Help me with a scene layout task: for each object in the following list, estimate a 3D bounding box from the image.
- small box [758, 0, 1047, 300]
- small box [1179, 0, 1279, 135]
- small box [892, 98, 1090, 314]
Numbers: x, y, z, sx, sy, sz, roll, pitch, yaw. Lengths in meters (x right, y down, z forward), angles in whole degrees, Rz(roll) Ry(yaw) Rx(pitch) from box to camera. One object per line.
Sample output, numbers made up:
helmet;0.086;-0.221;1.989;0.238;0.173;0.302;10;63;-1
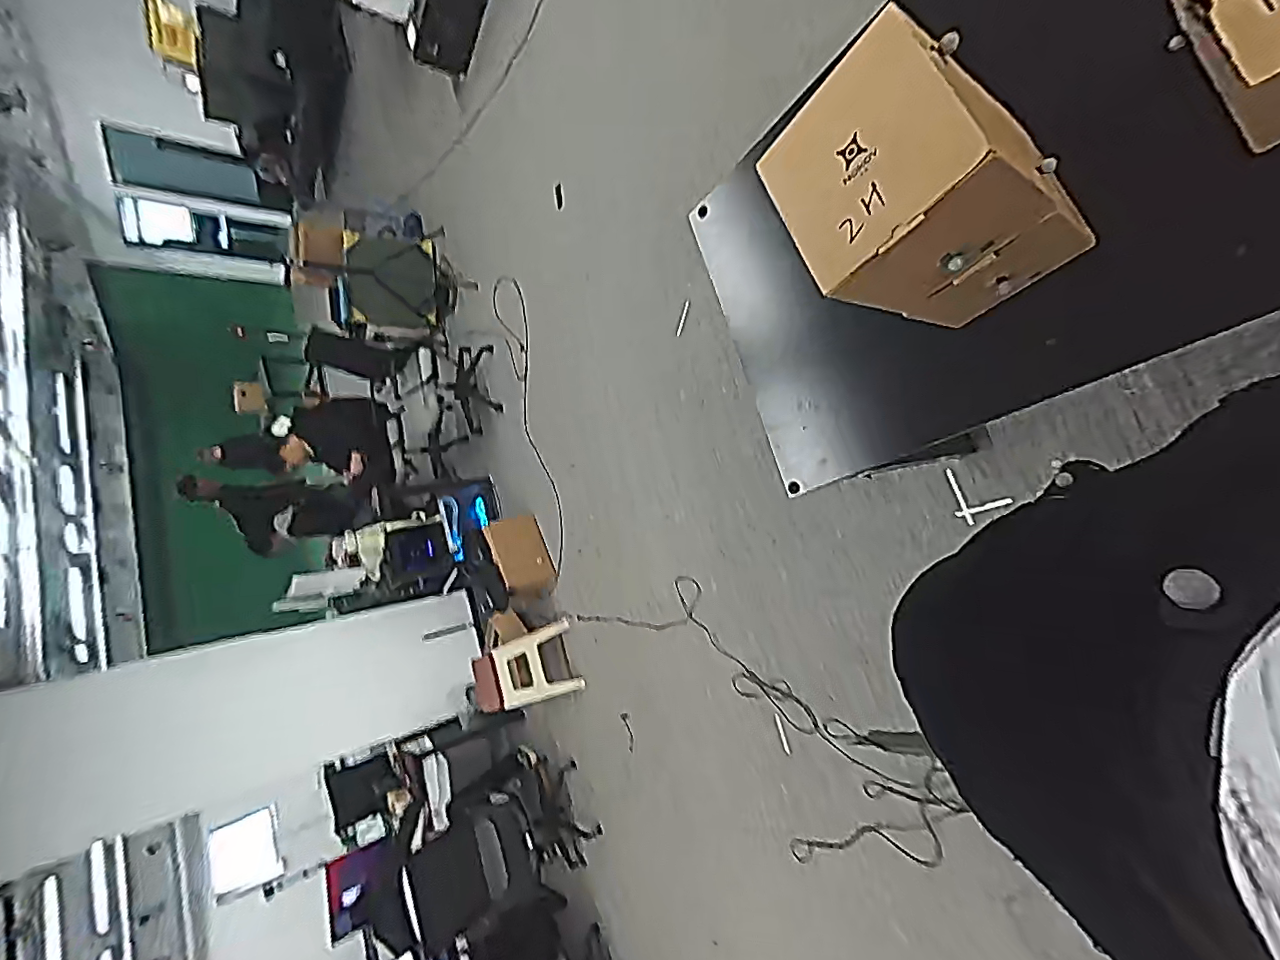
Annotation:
small box;0.257;-0.304;0.541;0.168;0.176;0.179;-38;66;47
small box;0.556;-0.416;0.418;0.179;0.176;0.168;-29;73;49
small box;0.387;-0.315;0.644;0.168;0.176;0.179;-36;68;48
